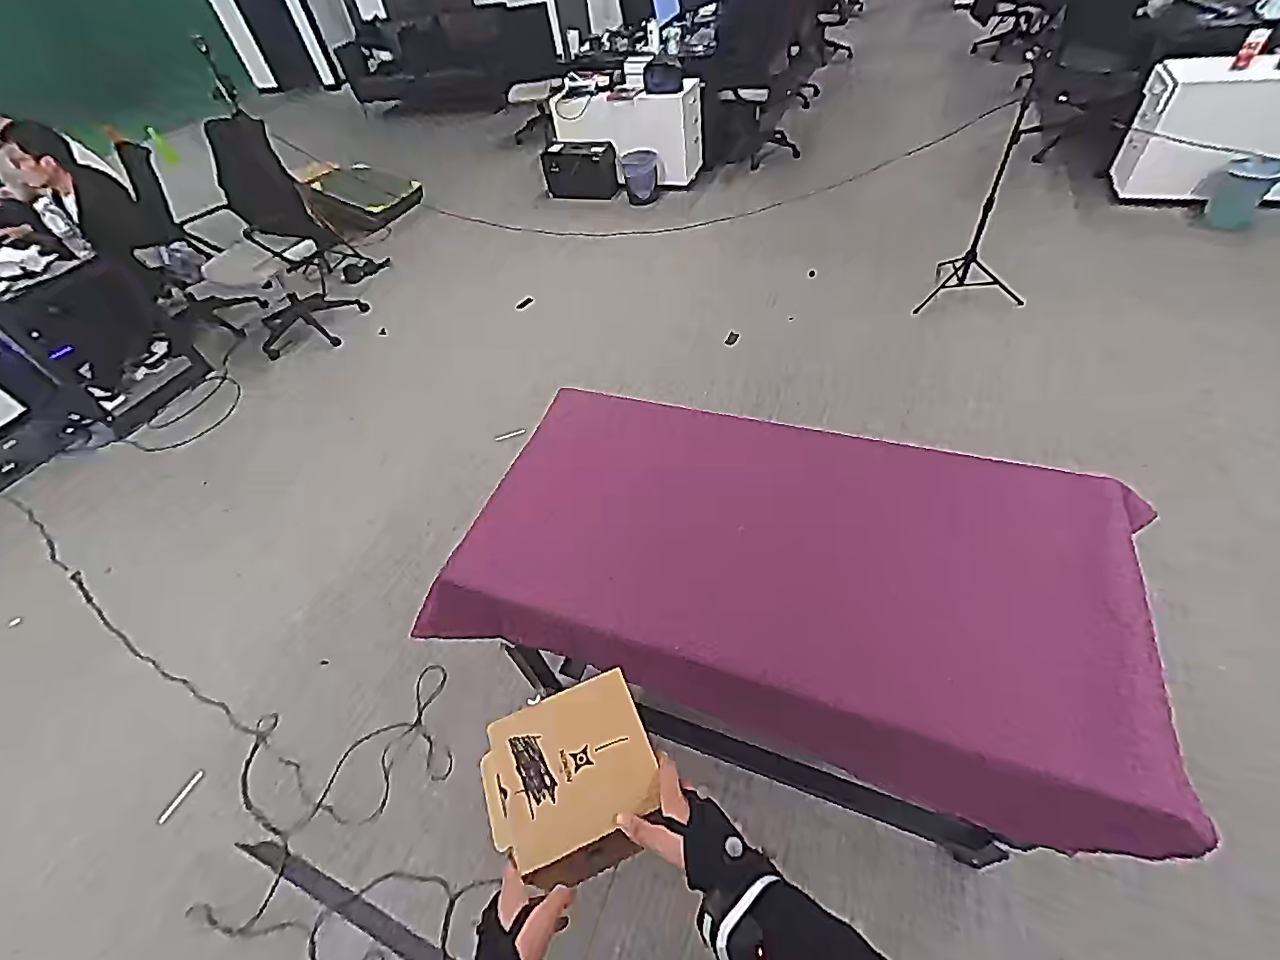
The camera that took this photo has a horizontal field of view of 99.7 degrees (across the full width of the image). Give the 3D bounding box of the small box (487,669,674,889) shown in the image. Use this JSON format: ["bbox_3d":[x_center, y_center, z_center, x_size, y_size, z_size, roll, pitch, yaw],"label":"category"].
[{"bbox_3d":[-0.069,0.374,0.673,0.179,0.176,0.168,-20,48,-11],"label":"small box"}]
